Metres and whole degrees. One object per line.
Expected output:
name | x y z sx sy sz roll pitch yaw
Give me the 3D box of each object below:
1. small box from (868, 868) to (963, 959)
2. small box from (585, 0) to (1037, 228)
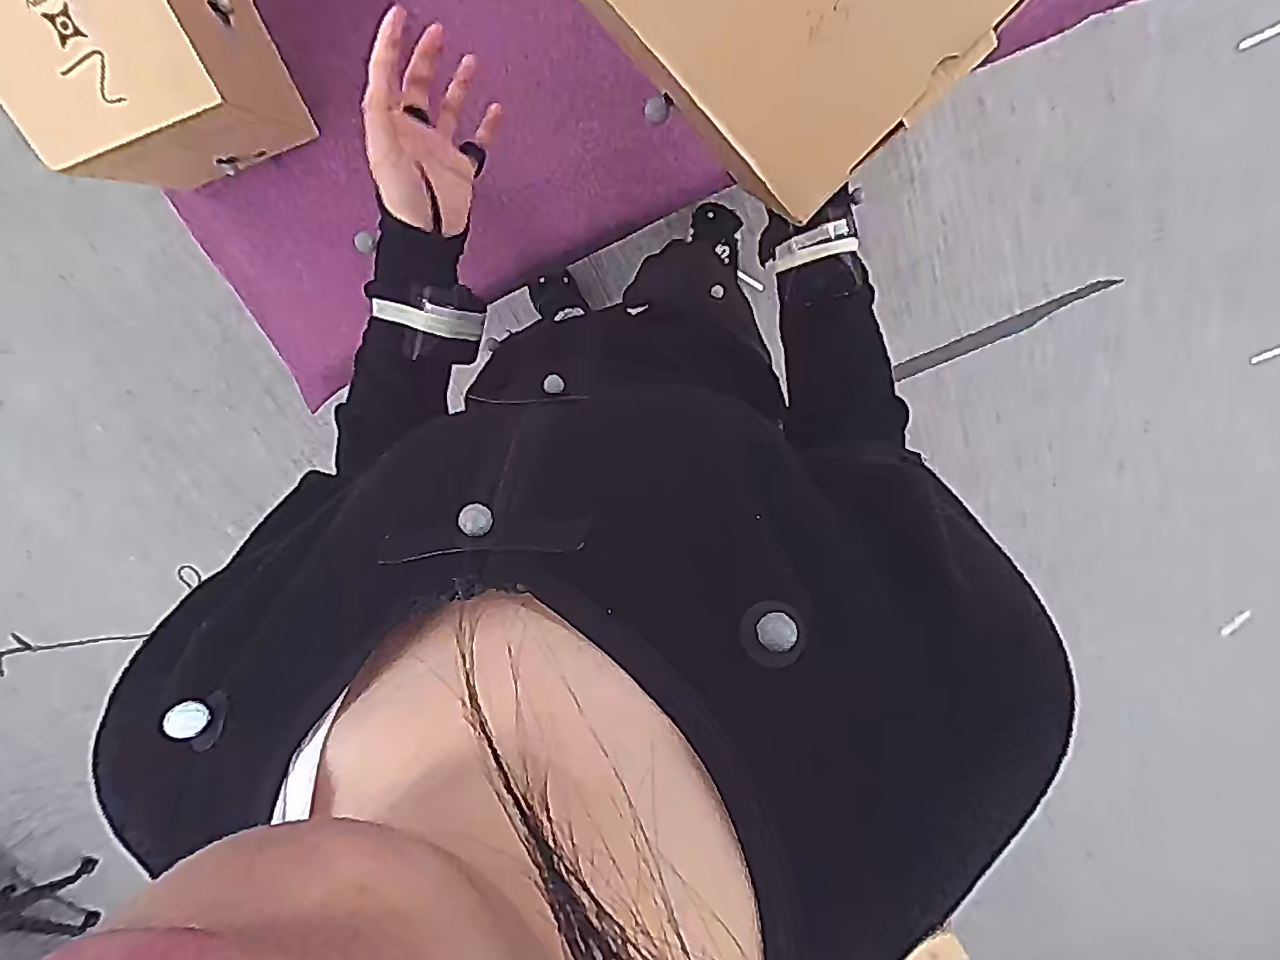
small box | 0.805 1.289 1.597 0.168 0.176 0.179 -30 113 11
small box | 0.076 -0.272 0.282 0.179 0.176 0.168 37 116 -22
